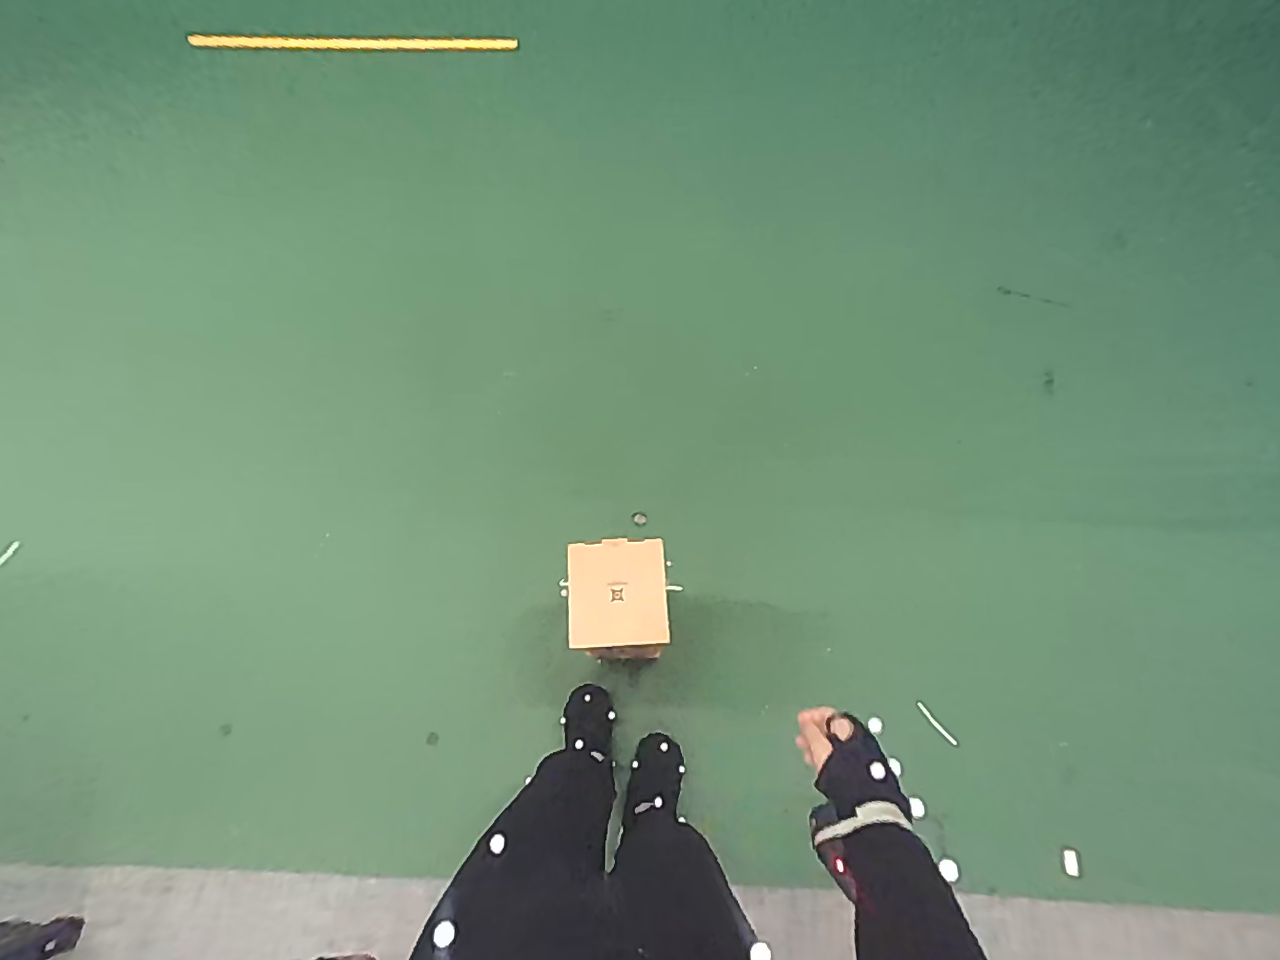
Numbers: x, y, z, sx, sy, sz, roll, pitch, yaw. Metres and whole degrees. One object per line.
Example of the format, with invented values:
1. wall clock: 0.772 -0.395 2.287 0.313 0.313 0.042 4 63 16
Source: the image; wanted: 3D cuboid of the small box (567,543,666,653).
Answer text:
1. small box: -0.039 0.219 0.978 0.168 0.176 0.179 -3 70 -1
